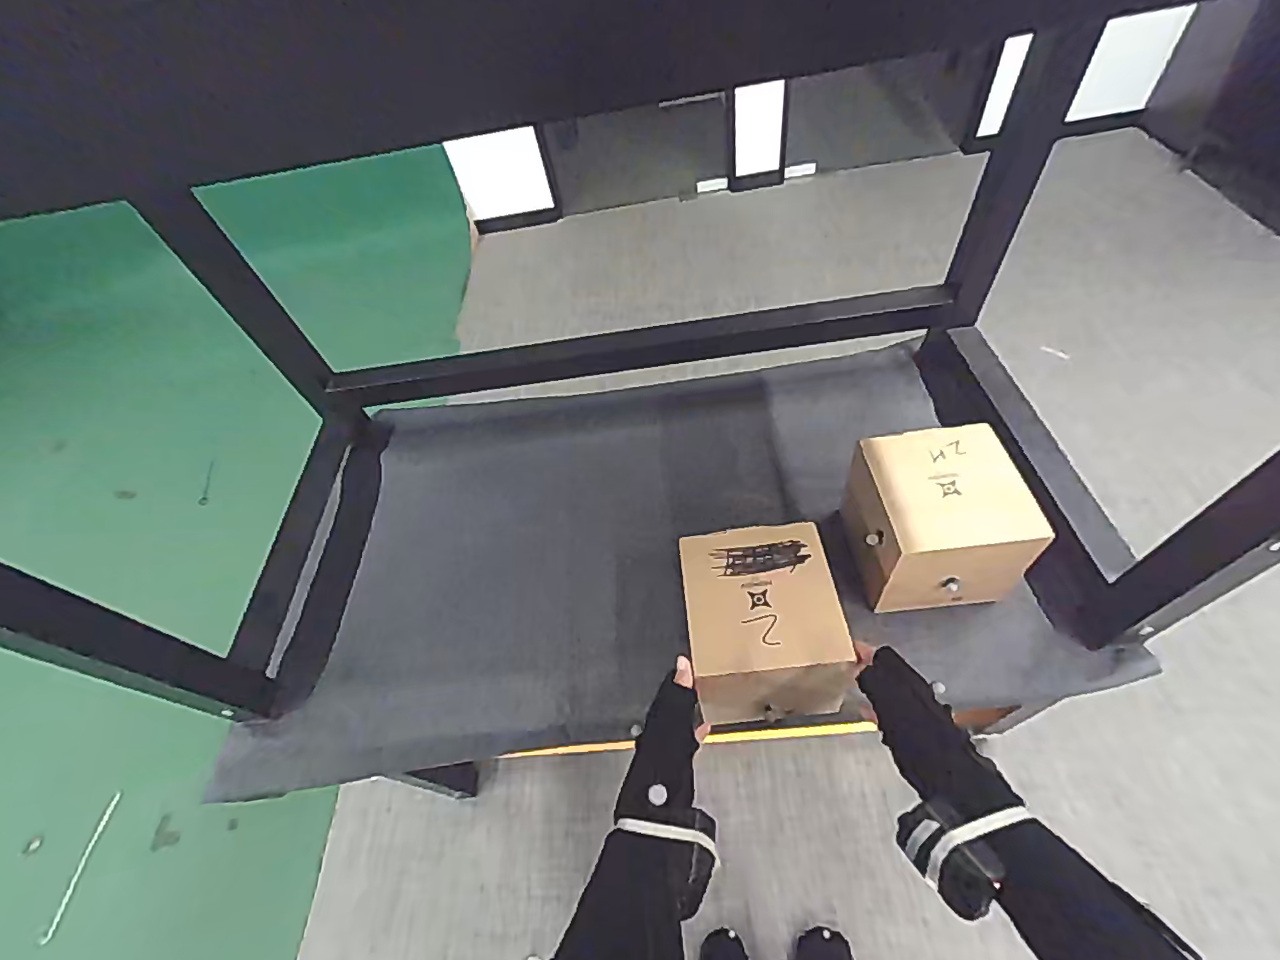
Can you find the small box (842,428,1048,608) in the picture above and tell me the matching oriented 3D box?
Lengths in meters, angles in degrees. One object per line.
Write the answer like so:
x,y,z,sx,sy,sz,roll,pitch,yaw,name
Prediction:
0.382,0.059,0.718,0.168,0.176,0.179,-7,51,5,small box
